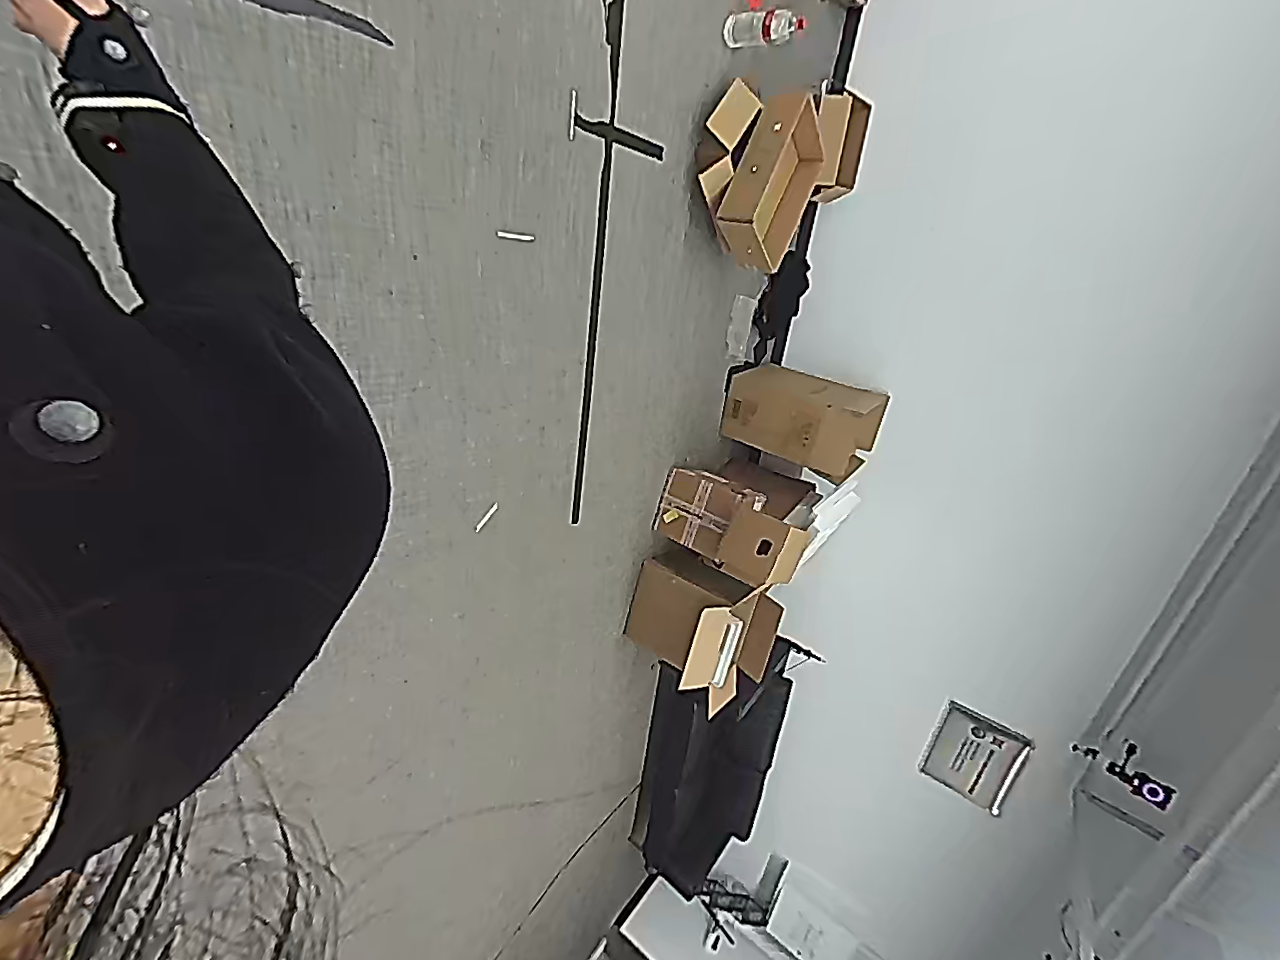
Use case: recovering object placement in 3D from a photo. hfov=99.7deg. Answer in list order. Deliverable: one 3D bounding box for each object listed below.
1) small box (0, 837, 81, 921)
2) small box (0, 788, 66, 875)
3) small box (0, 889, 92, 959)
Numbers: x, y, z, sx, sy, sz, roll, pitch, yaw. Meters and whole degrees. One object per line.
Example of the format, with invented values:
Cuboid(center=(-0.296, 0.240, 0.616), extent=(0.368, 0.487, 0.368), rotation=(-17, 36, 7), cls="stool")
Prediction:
Cuboid(center=(-1.251, 0.849, 1.058), extent=(0.168, 0.176, 0.179), rotation=(-25, 130, -47), cls="small box")
Cuboid(center=(-1.377, 0.795, 1.143), extent=(0.168, 0.176, 0.179), rotation=(-25, 130, -48), cls="small box")
Cuboid(center=(-1.125, 0.905, 0.972), extent=(0.179, 0.176, 0.168), rotation=(-25, 129, -47), cls="small box")
